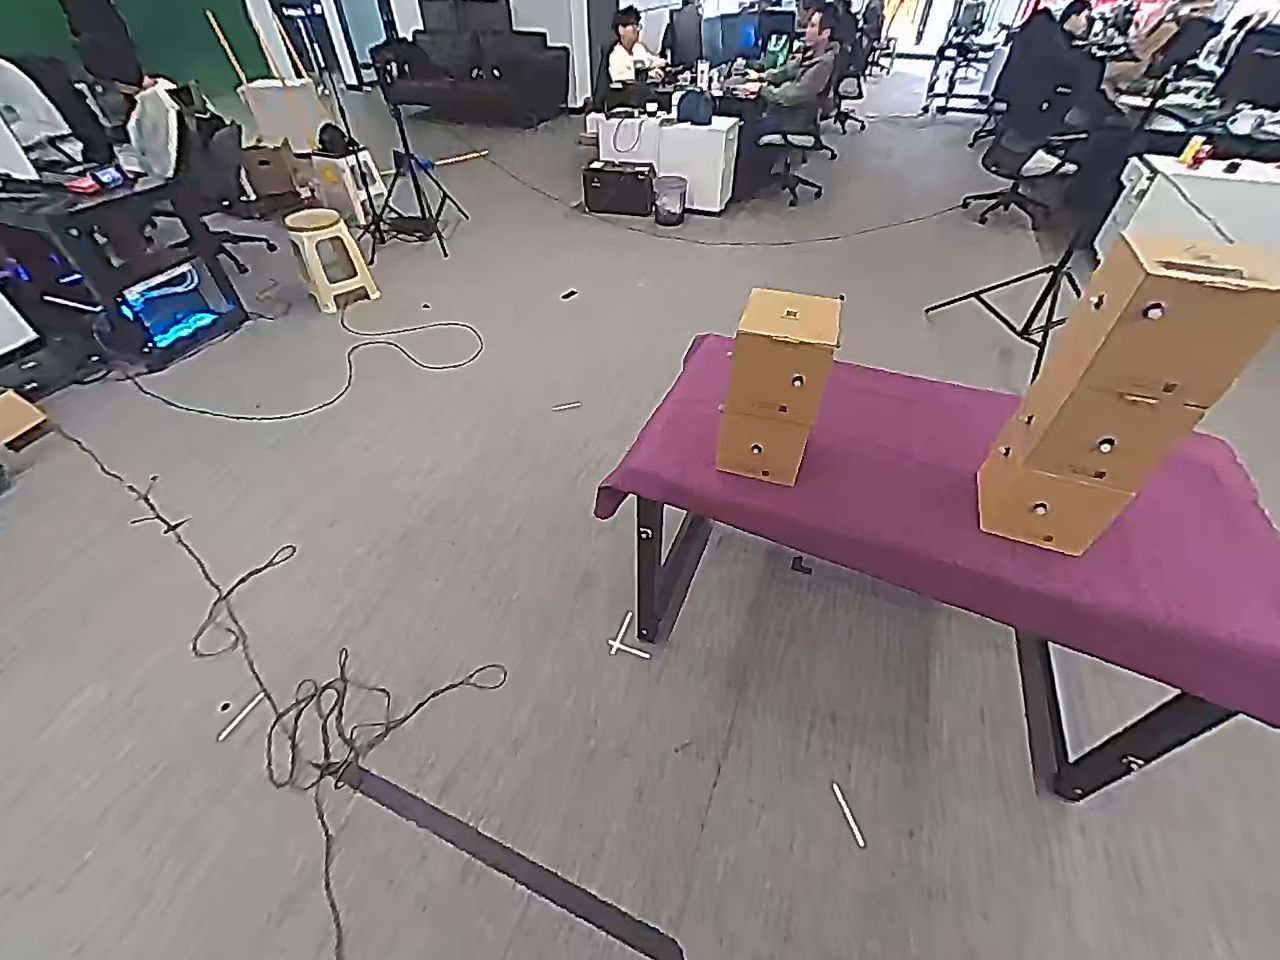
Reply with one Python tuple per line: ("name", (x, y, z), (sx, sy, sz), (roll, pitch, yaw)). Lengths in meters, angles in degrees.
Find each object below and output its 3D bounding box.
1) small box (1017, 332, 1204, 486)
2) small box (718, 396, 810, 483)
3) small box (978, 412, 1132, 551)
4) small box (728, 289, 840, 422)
("small box", (0.755, -0.116, 0.894), (0.168, 0.176, 0.179), (17, 47, 17))
("small box", (0.263, -0.119, 1.125), (0.168, 0.176, 0.179), (14, 45, 13))
("small box", (0.753, 0.005, 1.004), (0.168, 0.176, 0.179), (16, 46, 16))
("small box", (0.264, -0.230, 1.007), (0.168, 0.176, 0.179), (13, 44, 11))
